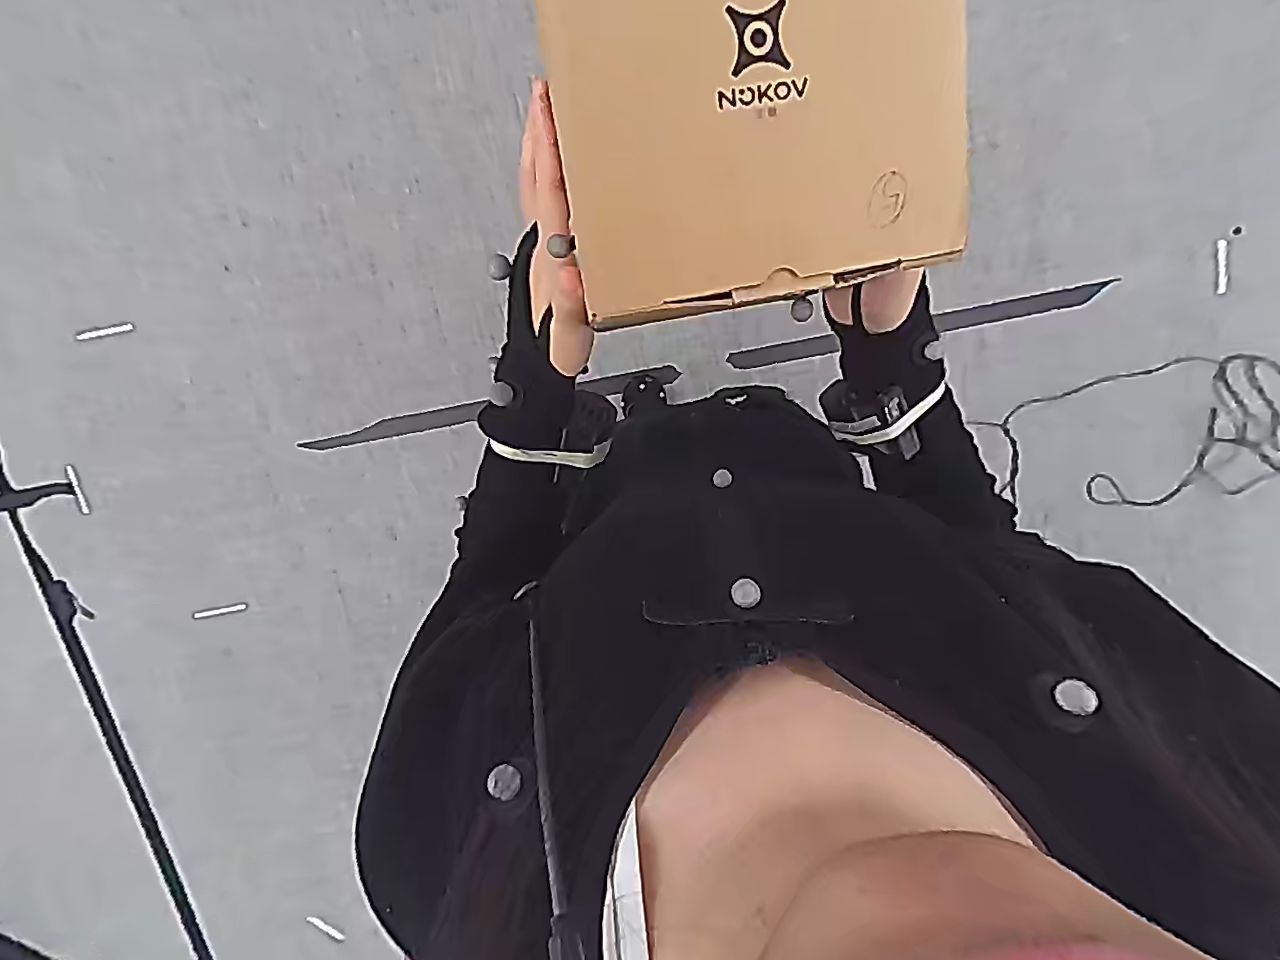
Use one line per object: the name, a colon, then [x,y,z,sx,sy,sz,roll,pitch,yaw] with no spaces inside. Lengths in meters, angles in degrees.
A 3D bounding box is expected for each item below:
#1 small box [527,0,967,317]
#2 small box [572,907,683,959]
small box: [0.037,-0.186,0.282,0.168,0.176,0.179,-11,104,-3]
small box: [-0.012,0.789,0.802,0.168,0.176,0.179,-6,100,-1]
